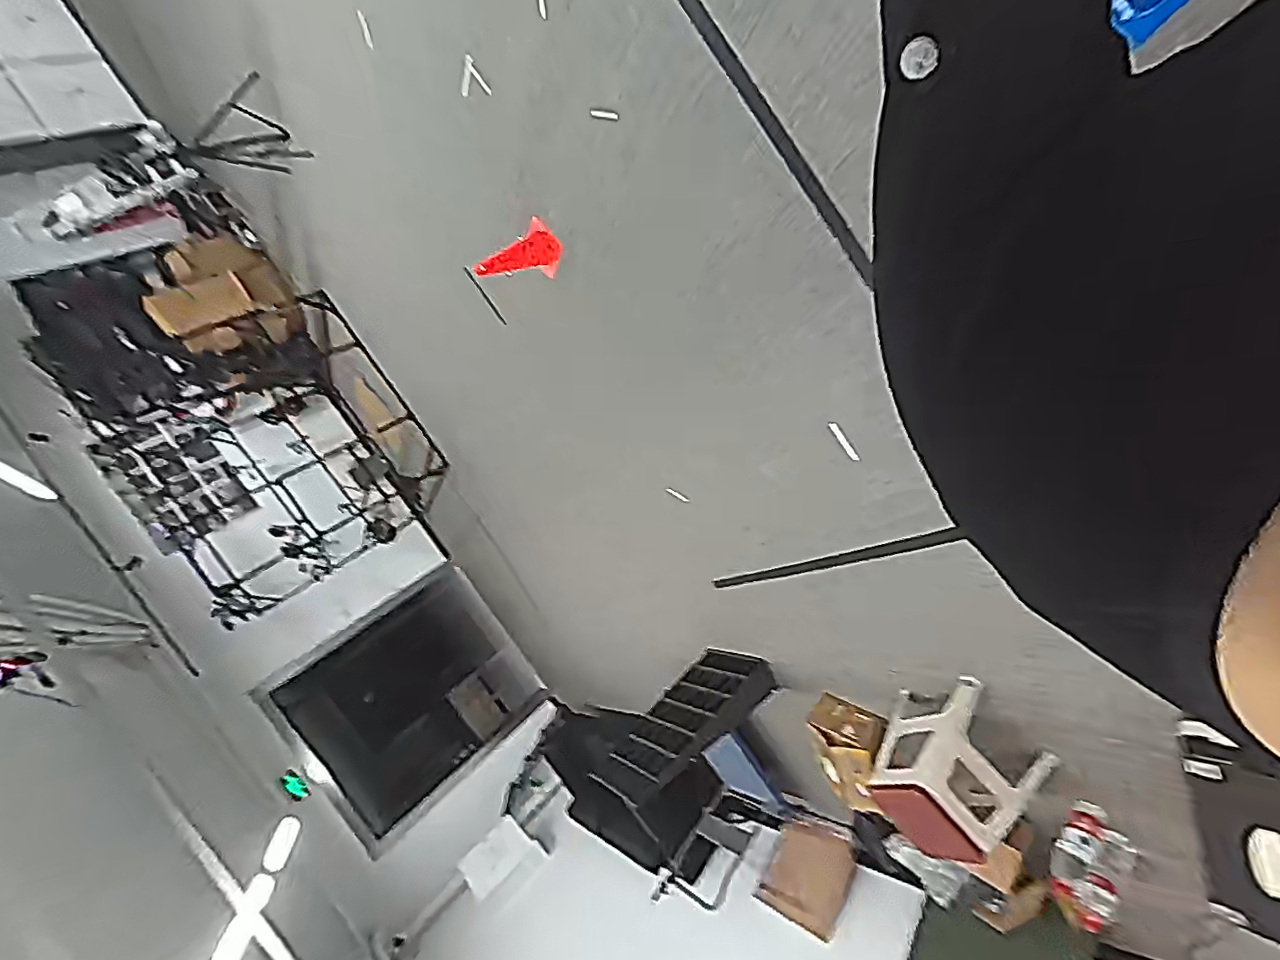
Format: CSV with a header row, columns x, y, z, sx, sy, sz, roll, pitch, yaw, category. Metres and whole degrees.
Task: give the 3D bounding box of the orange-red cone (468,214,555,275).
x,y,z,sx,sy,sz,roll,pitch,yaw,category
-0.568,-0.945,2.291,0.199,0.360,0.198,51,149,1,orange-red cone
